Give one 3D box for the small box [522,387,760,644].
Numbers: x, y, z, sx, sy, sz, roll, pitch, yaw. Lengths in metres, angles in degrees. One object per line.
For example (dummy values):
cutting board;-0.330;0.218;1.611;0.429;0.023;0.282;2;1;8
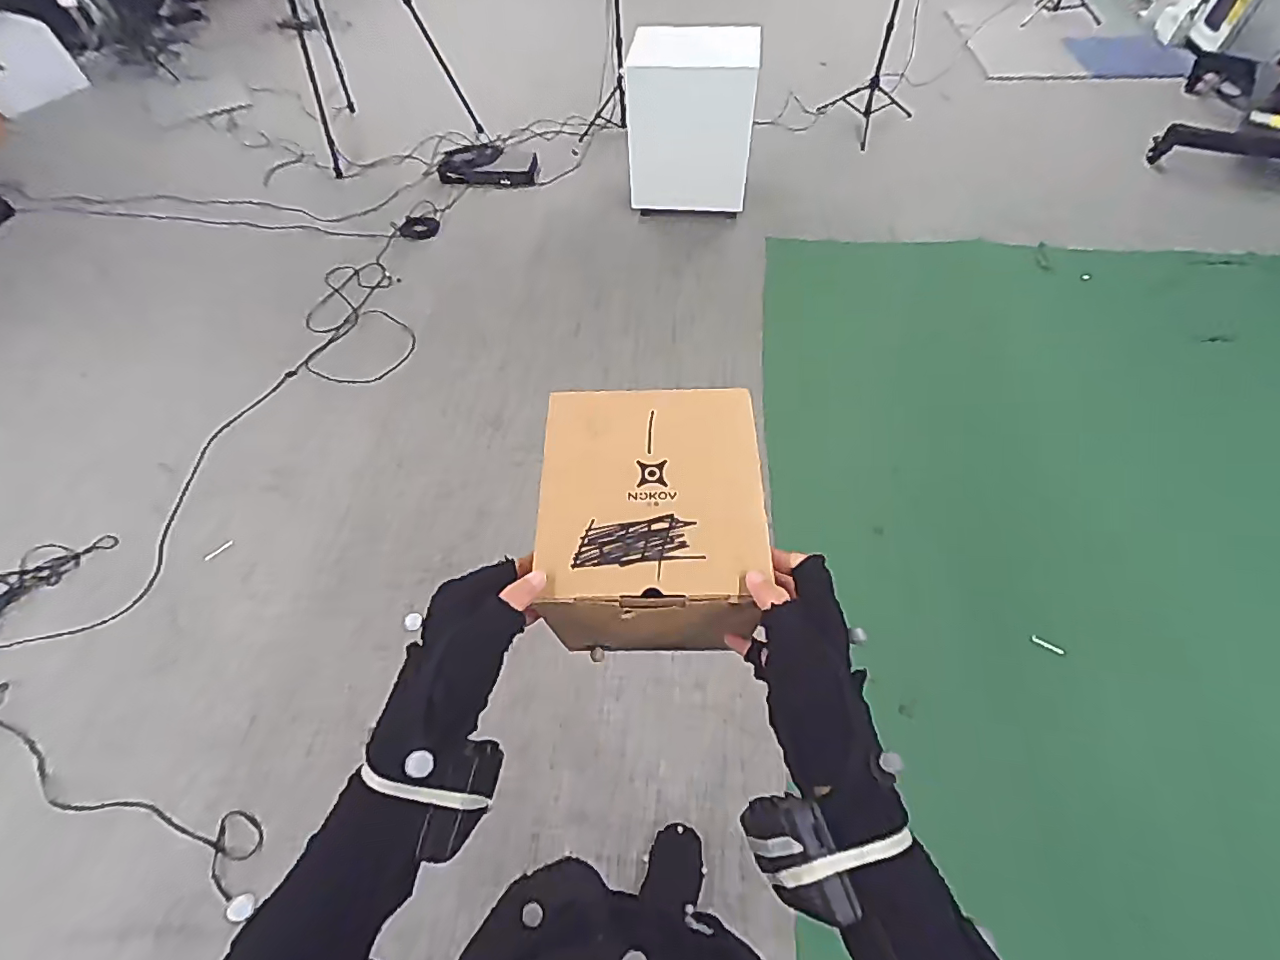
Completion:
small box;0.005;0.040;0.472;0.168;0.176;0.179;-1;60;2
